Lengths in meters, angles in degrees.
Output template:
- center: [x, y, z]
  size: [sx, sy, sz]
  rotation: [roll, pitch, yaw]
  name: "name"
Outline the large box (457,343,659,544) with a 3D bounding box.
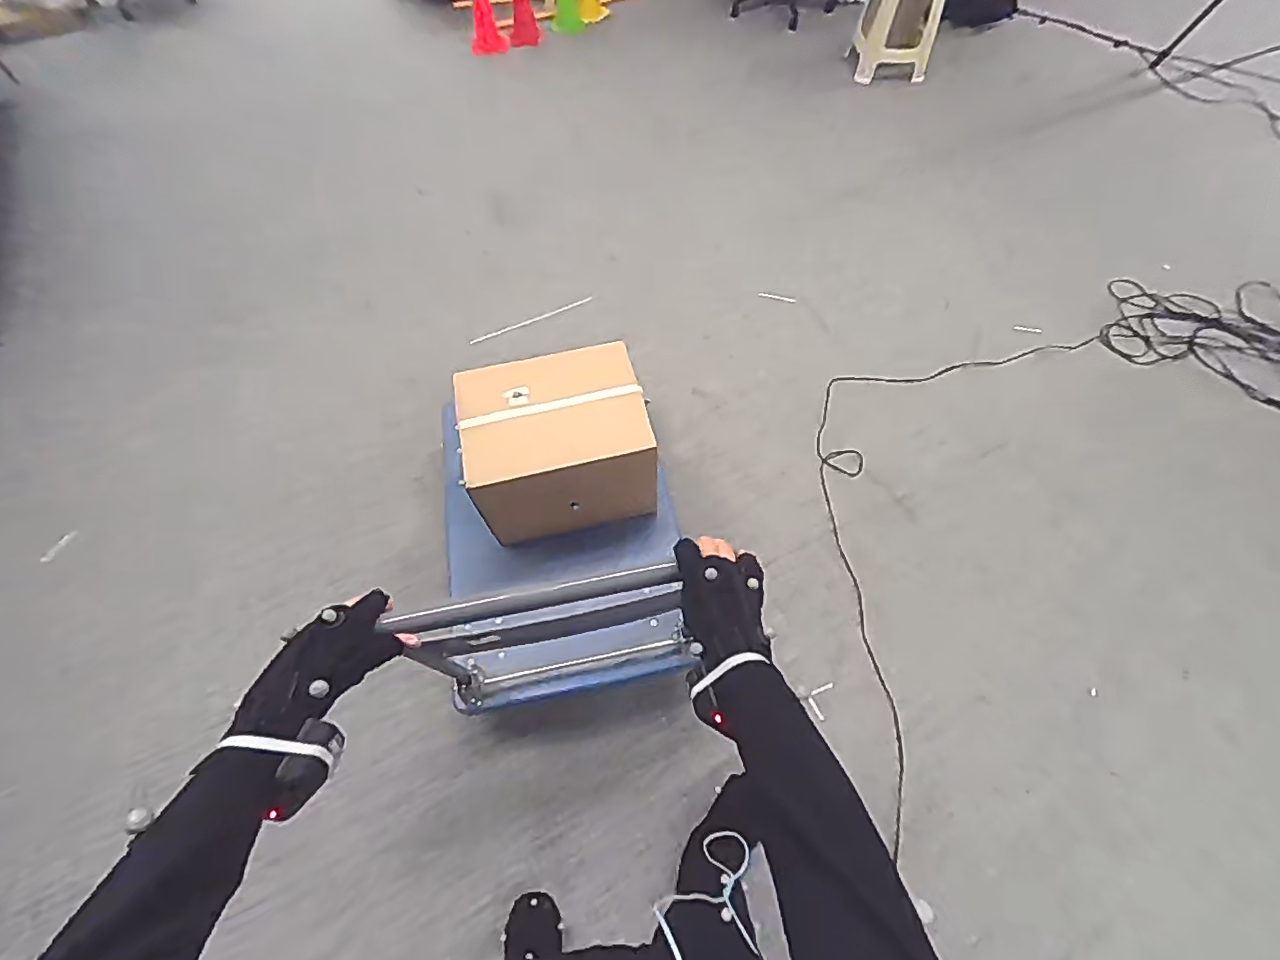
- center: [-0.185, -0.078, 1.319]
  size: [0.408, 0.320, 0.320]
  rotation: [-14, 61, -5]
  name: "large box"
